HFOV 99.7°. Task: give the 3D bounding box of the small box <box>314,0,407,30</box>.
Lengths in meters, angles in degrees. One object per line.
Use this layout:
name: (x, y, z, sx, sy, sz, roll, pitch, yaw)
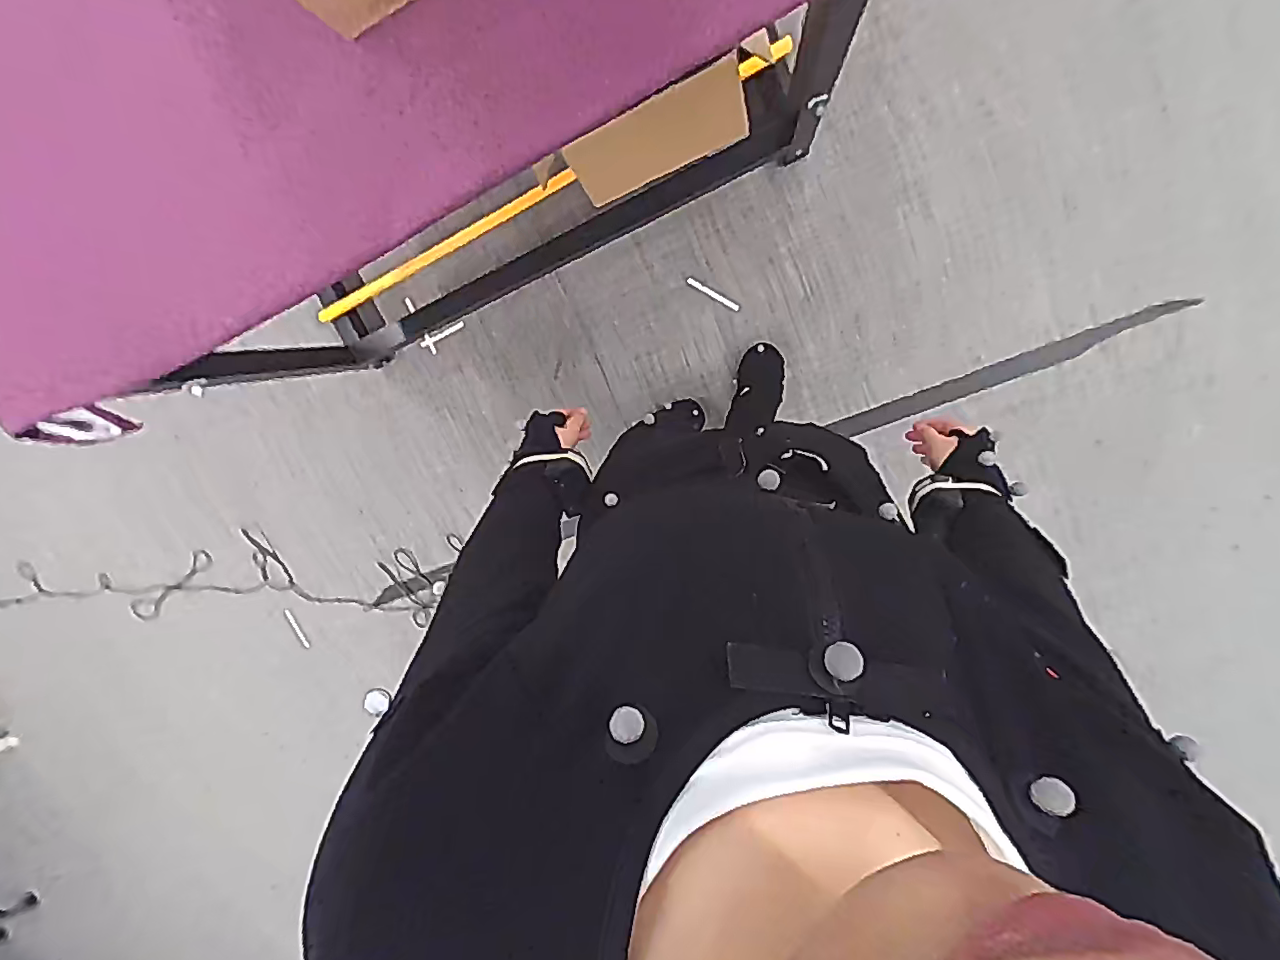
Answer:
small box: (-0.278, -0.552, 0.461, 0.168, 0.176, 0.179, -18, 101, 15)
